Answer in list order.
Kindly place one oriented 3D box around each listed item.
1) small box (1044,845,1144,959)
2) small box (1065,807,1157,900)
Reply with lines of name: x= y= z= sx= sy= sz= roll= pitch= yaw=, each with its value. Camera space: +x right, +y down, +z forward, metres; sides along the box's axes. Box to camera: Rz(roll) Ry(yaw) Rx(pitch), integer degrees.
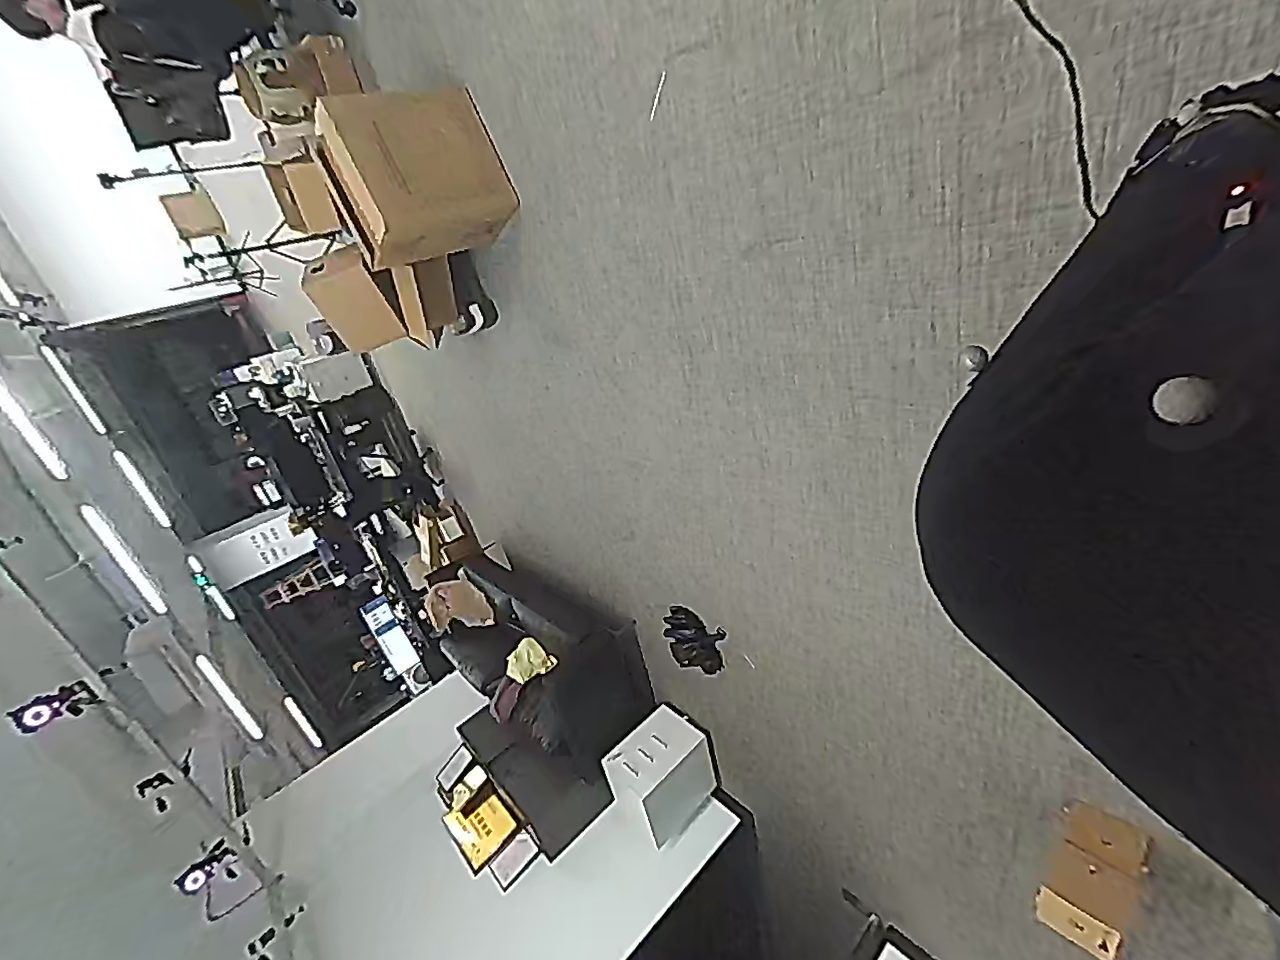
small box: x=1.262 y=1.169 z=1.507 sx=0.179 sy=0.176 sz=0.168 roll=13 pitch=125 yaw=49
small box: x=1.383 y=1.110 z=1.596 sx=0.179 sy=0.176 sz=0.168 roll=14 pitch=127 yaw=47
